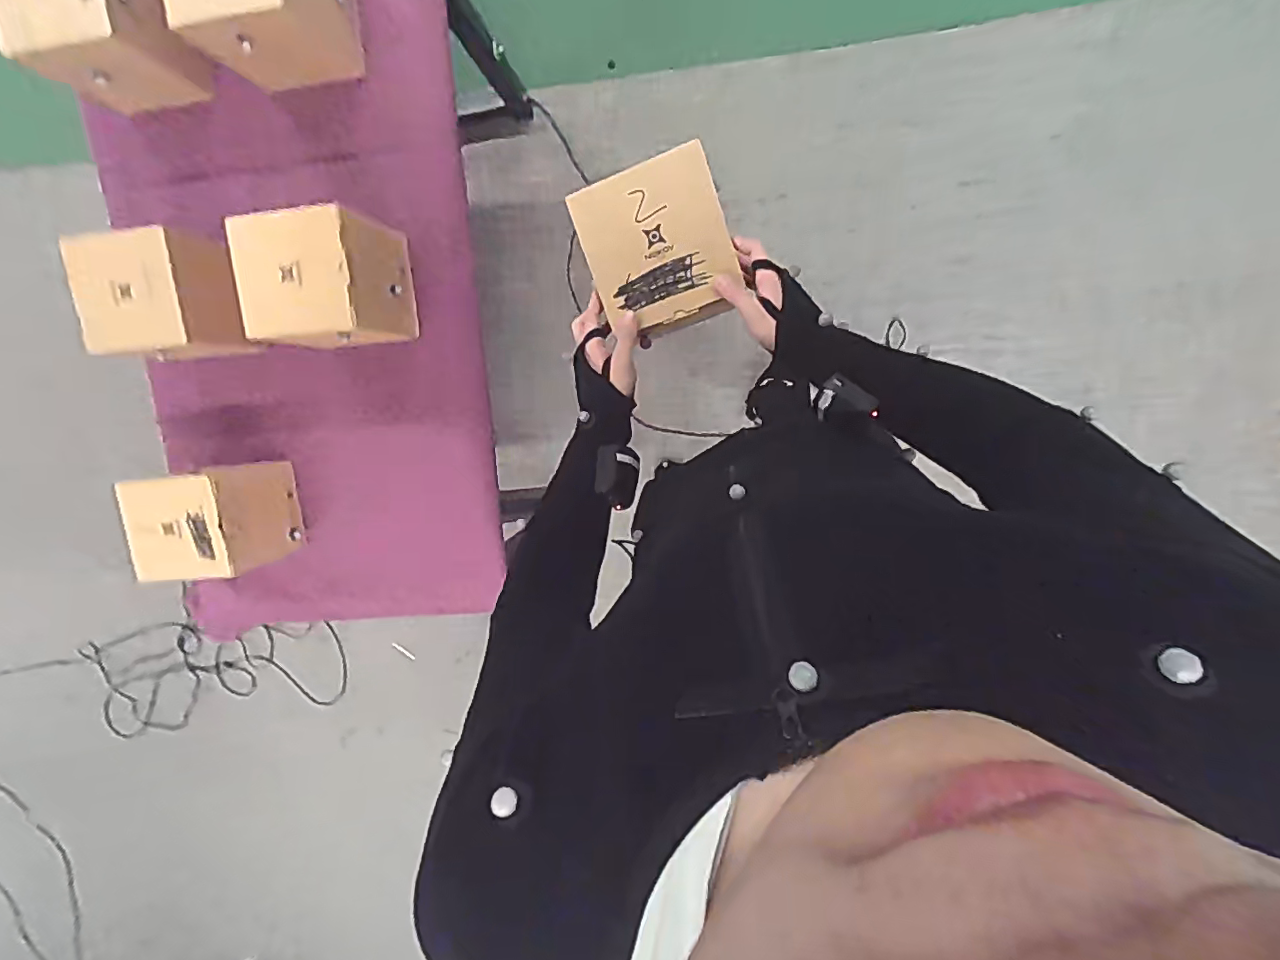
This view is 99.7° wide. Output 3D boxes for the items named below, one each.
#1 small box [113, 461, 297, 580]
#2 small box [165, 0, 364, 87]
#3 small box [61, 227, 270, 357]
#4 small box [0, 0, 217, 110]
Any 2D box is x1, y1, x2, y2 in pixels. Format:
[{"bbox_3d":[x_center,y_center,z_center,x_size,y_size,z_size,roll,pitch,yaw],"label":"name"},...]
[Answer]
[{"bbox_3d":[-0.723,0.062,0.925,0.179,0.176,0.168,-4,99,8],"label":"small box"},{"bbox_3d":[-0.531,-0.695,0.768,0.179,0.176,0.168,-1,101,9],"label":"small box"},{"bbox_3d":[-0.747,-0.291,0.870,0.179,0.176,0.168,-3,100,7],"label":"small box"},{"bbox_3d":[-0.791,-0.686,0.806,0.179,0.176,0.168,-4,100,7],"label":"small box"}]
